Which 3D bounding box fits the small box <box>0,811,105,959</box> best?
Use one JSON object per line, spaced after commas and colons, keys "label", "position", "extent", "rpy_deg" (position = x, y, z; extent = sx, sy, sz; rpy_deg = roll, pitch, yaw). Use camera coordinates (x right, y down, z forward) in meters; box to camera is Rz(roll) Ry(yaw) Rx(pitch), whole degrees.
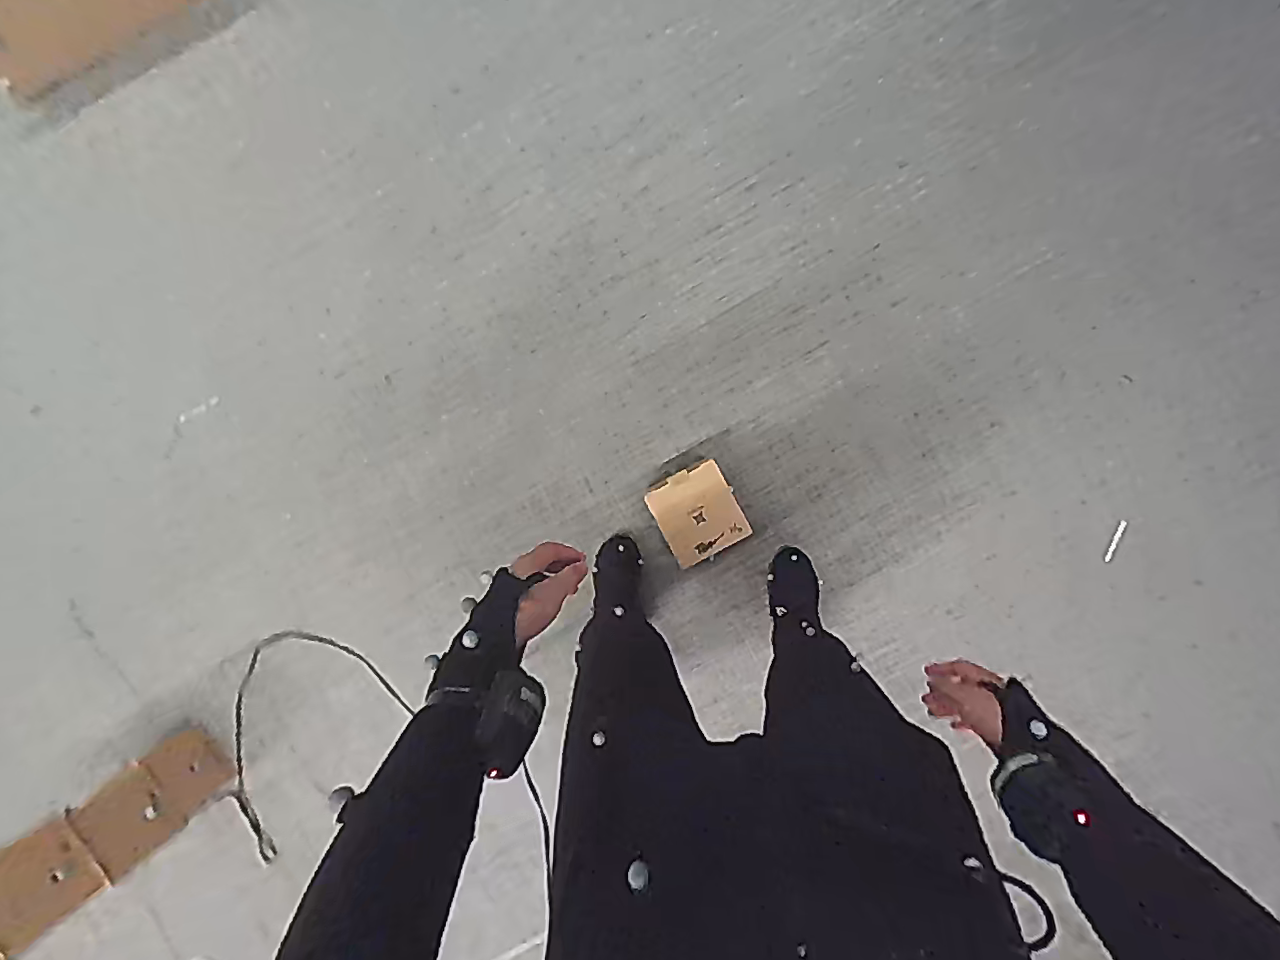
{"label": "small box", "position": [-1.106, 0.726, 0.929], "extent": [0.179, 0.176, 0.168], "rpy_deg": [-34, 91, 2]}

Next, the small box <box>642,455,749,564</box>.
{"label": "small box", "position": [0.114, 0.060, 1.181], "extent": [0.168, 0.176, 0.179], "rpy_deg": [-28, 91, 3]}

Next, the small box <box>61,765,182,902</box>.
{"label": "small box", "position": [-1.100, 0.726, 1.092], "extent": [0.179, 0.176, 0.168], "rpy_deg": [-33, 92, 2]}

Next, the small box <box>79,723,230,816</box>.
{"label": "small box", "position": [-1.107, 0.705, 1.255], "extent": [0.179, 0.176, 0.168], "rpy_deg": [-37, 90, 4]}
